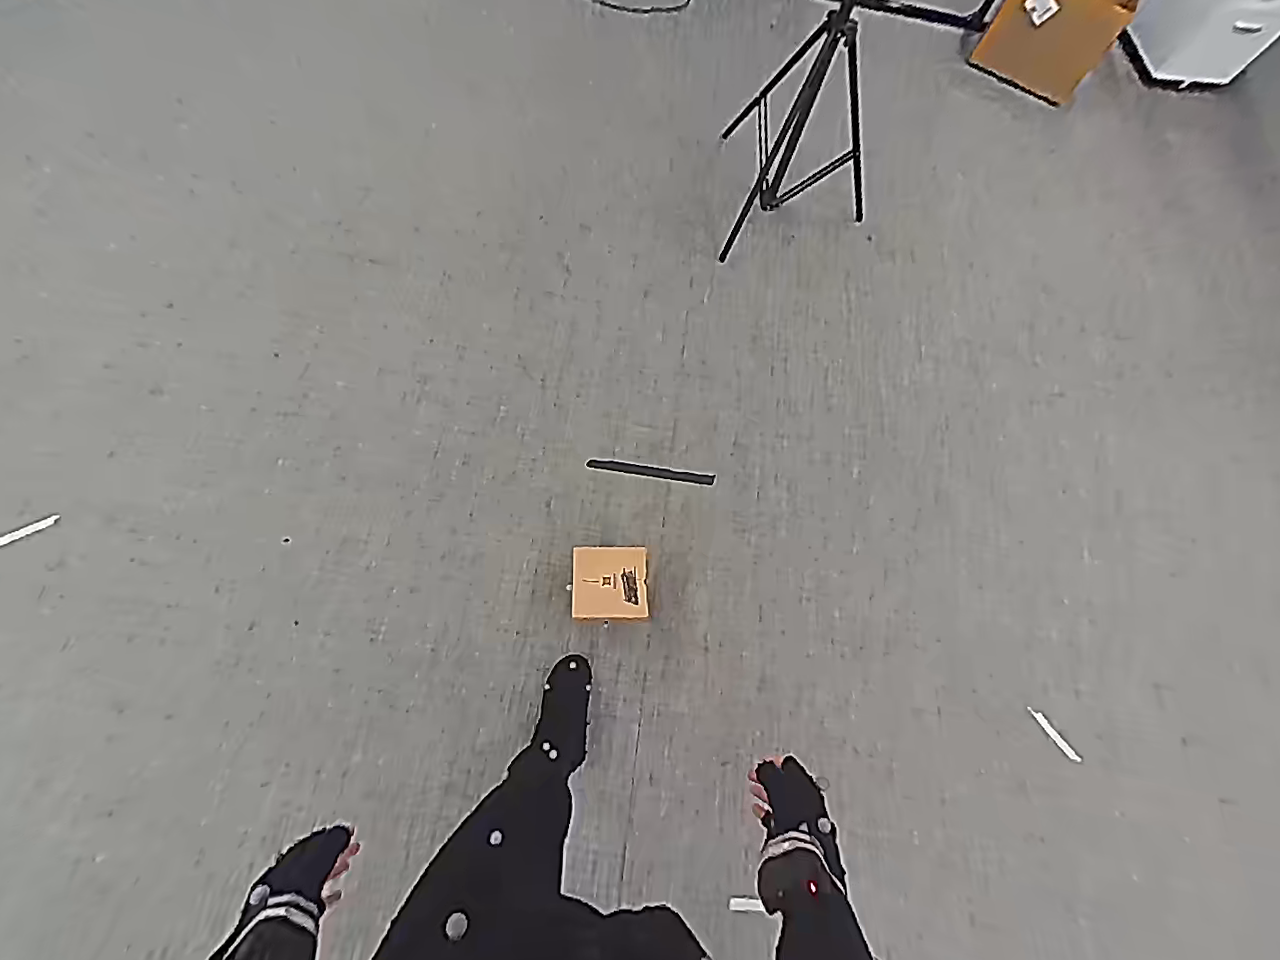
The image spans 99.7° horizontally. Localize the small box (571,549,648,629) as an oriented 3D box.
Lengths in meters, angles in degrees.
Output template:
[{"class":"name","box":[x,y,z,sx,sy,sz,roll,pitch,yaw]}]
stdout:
[{"class":"small box","box":[-0.076,0.269,1.320,0.179,0.176,0.168,1,69,-5]}]
